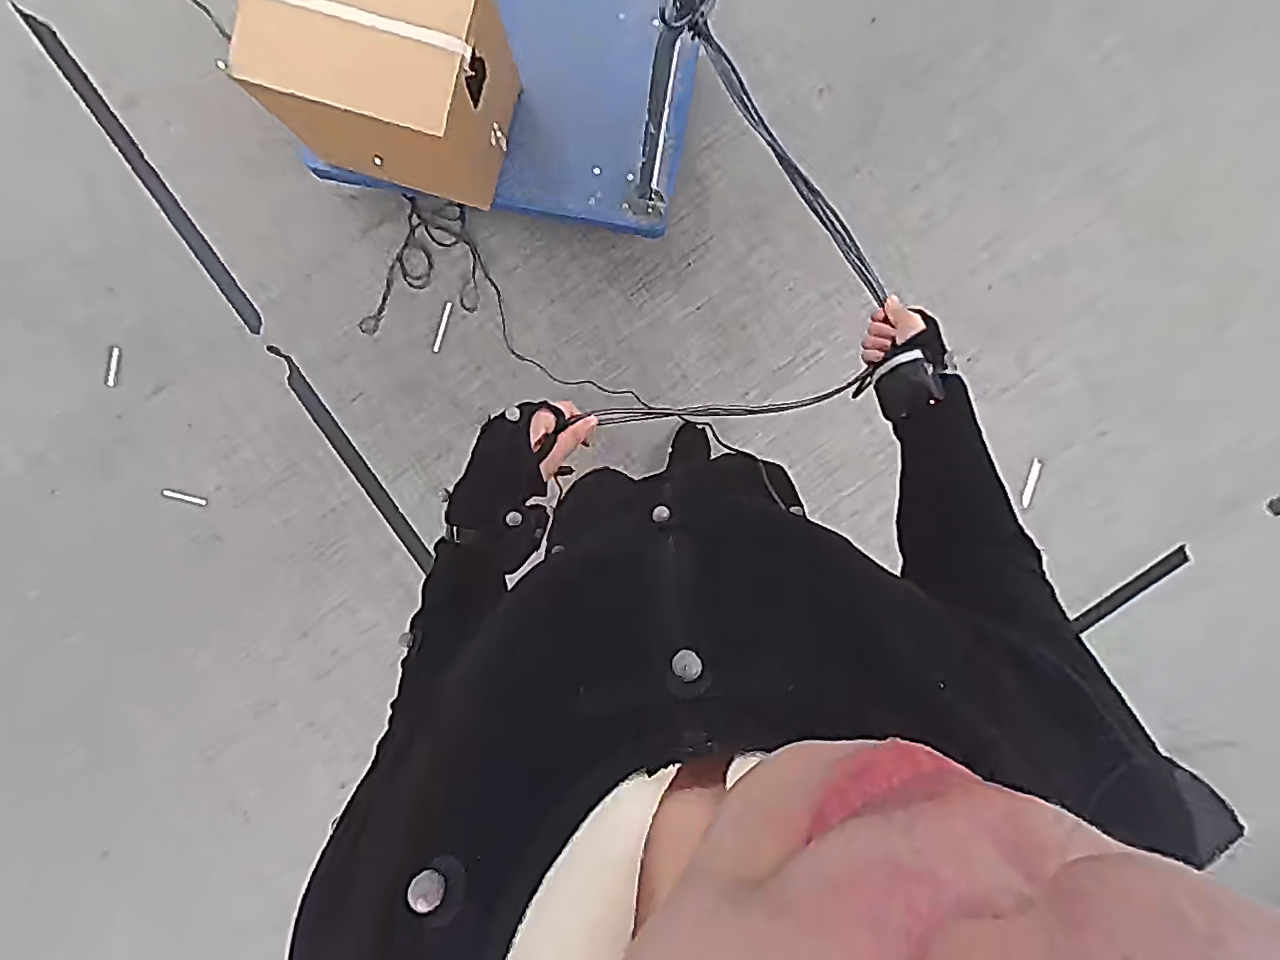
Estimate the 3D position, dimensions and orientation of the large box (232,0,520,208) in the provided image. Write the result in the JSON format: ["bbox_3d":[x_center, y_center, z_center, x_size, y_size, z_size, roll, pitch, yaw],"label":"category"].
[{"bbox_3d":[-0.499,-0.814,1.105,0.408,0.320,0.320,15,93,-1],"label":"large box"}]
